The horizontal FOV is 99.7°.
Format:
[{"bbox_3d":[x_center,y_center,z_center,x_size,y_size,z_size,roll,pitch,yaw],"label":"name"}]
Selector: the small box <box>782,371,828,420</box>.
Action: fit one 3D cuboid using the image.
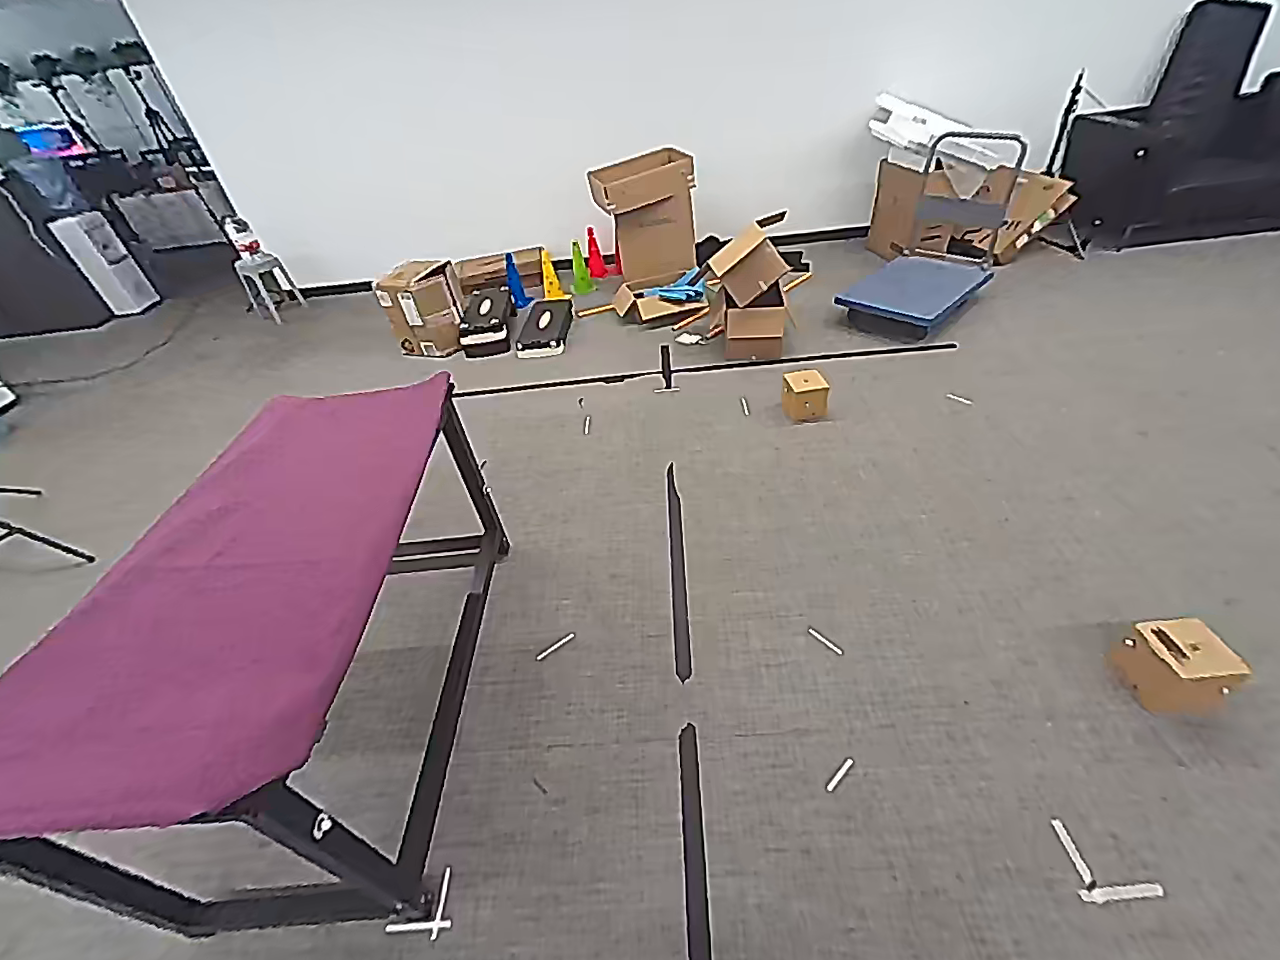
[{"bbox_3d":[0.791,-0.402,2.606,0.168,0.176,0.179,-10,39,-2],"label":"small box"}]
